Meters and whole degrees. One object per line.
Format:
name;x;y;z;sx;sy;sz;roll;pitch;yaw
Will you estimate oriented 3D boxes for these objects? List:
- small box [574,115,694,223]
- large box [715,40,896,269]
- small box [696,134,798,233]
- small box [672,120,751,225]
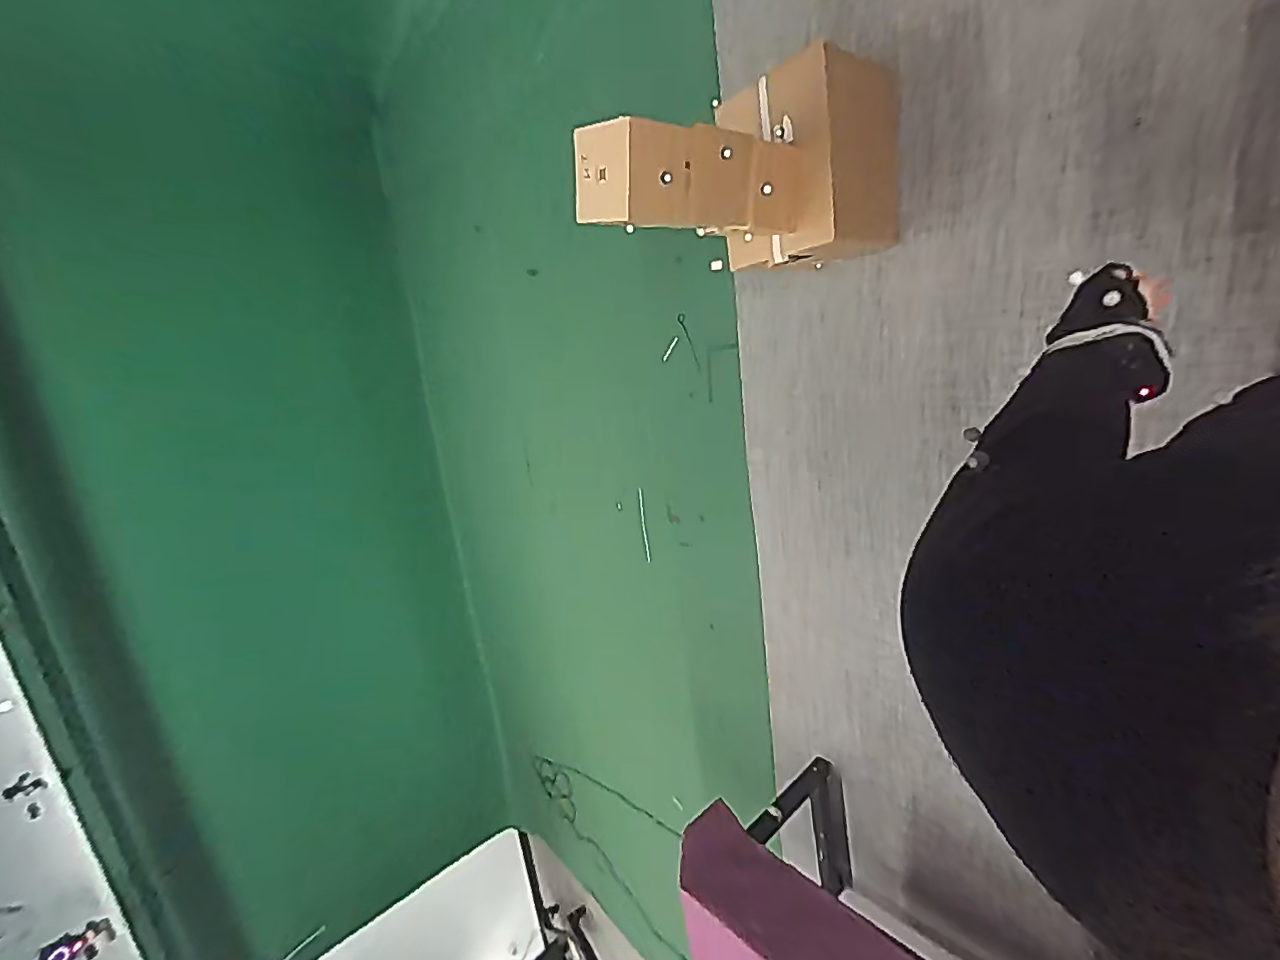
small box;-0.011;-0.602;1.064;0.179;0.176;0.168;27;124;44
large box;0.427;-0.785;1.383;0.320;0.320;0.408;6;108;50
small box;0.247;-0.676;1.252;0.168;0.176;0.179;22;121;46
small box;0.120;-0.645;1.155;0.168;0.176;0.179;26;125;44
